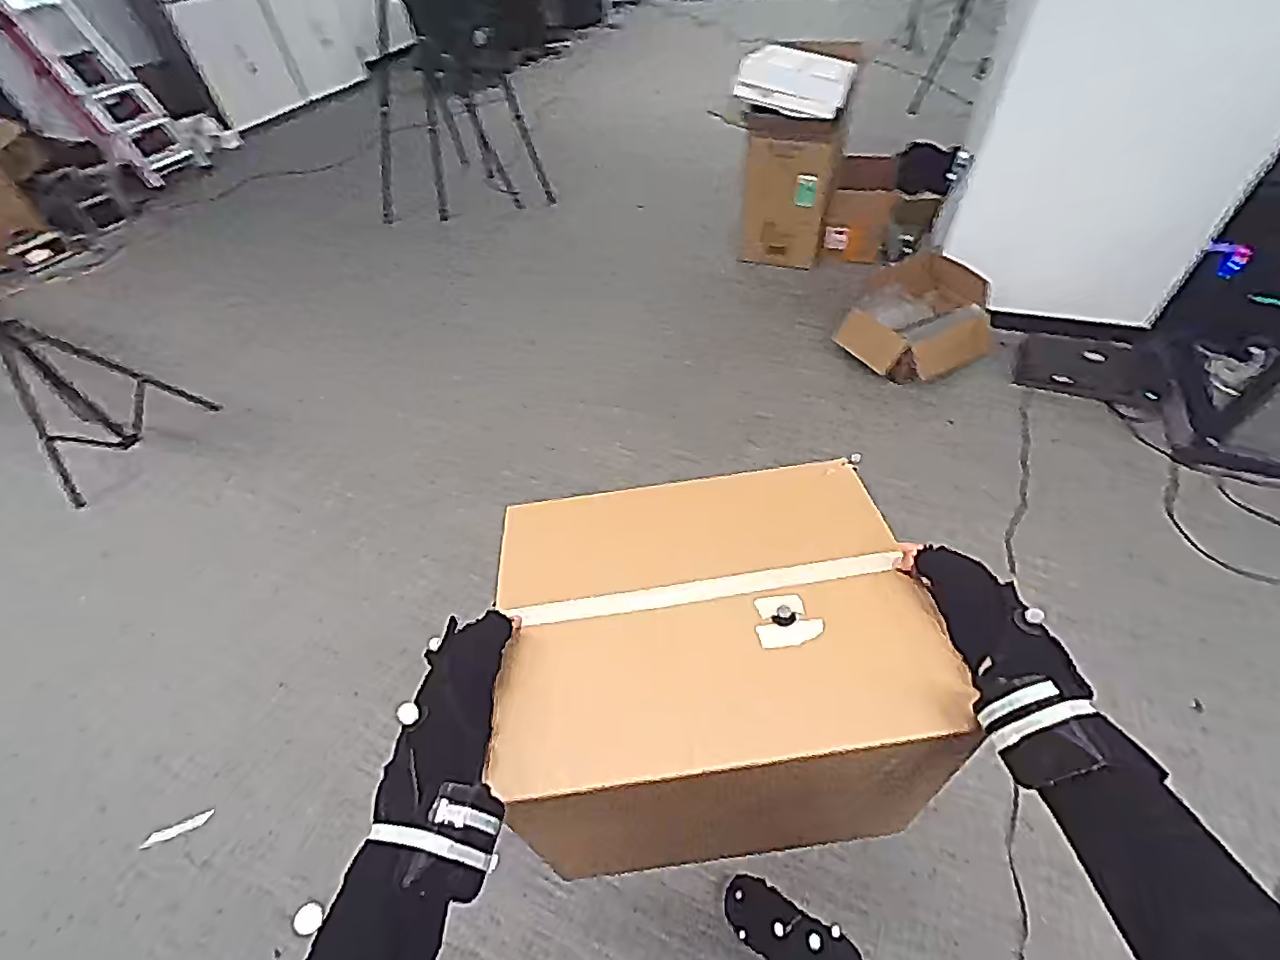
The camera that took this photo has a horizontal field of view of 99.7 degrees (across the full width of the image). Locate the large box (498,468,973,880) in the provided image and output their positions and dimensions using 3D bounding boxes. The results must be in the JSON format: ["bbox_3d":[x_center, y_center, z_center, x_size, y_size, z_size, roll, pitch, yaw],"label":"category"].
[{"bbox_3d":[0.074,0.227,0.644,0.408,0.320,0.320,-9,44,-1],"label":"large box"}]
